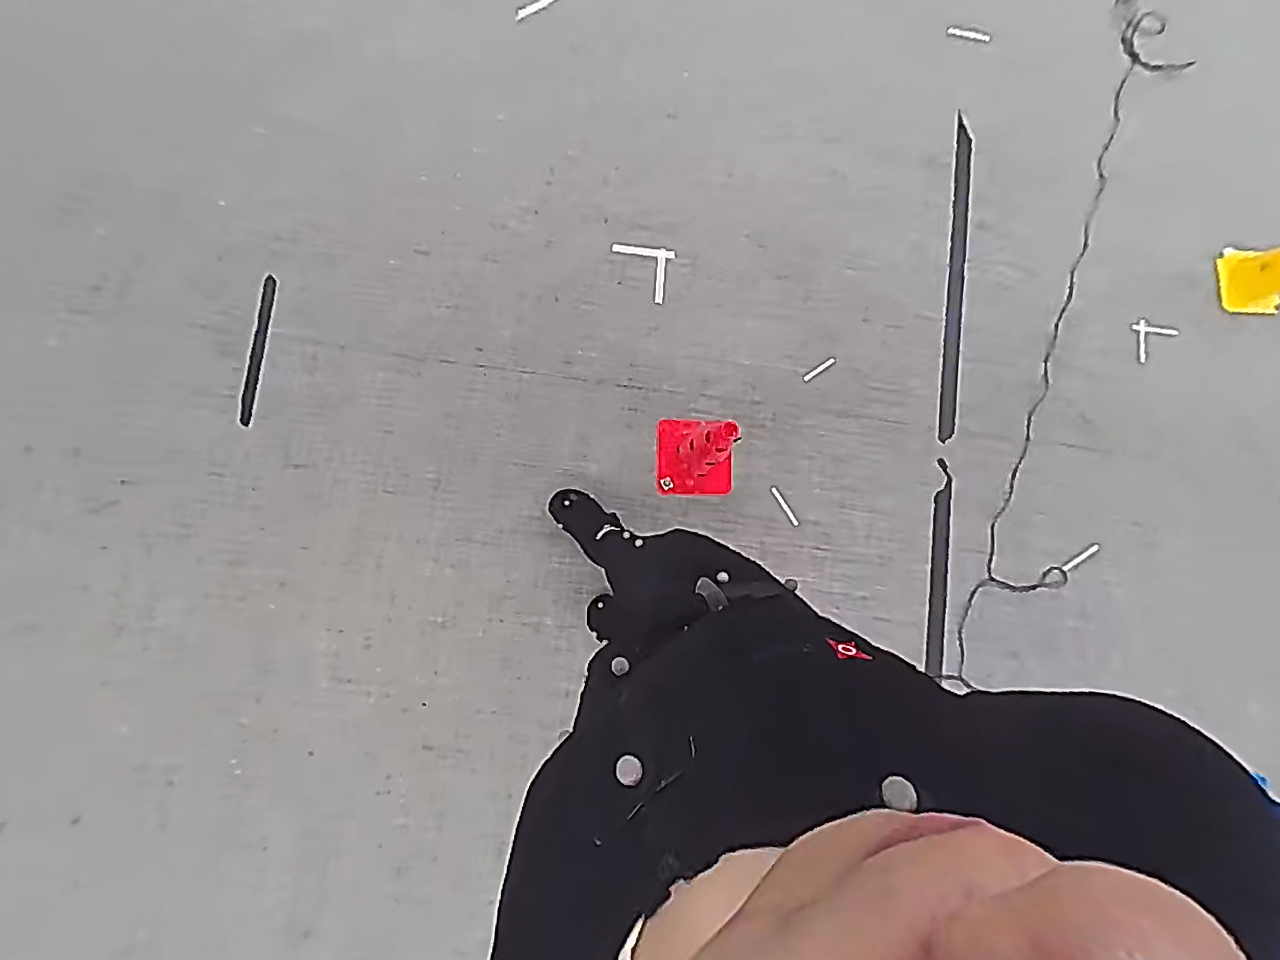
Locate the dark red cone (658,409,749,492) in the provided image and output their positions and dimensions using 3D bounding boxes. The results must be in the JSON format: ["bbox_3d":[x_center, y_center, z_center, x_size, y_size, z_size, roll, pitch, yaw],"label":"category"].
[{"bbox_3d":[0.167,-0.088,1.223,0.201,0.394,0.202,0,83,-7],"label":"dark red cone"}]
